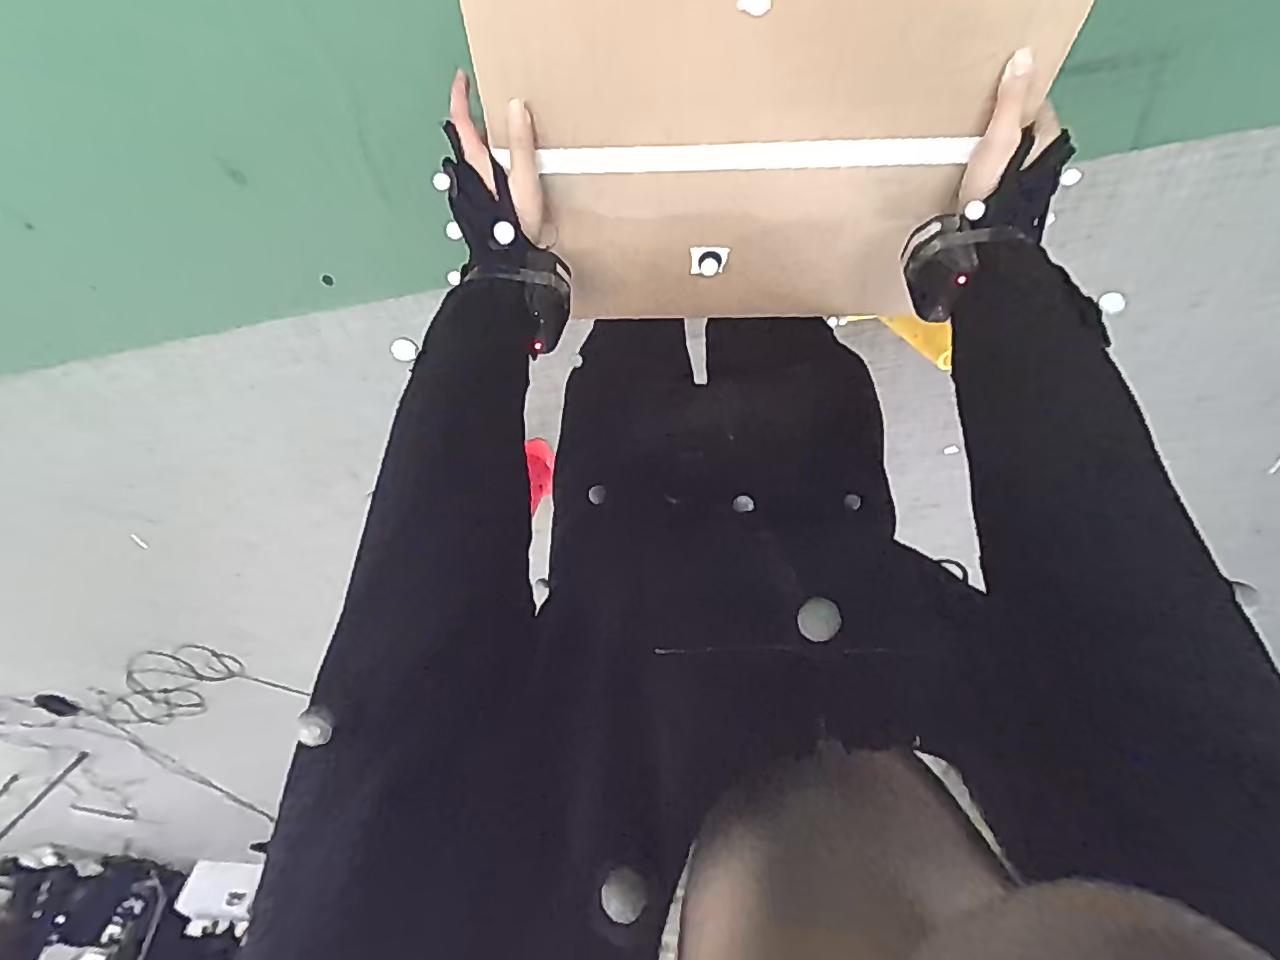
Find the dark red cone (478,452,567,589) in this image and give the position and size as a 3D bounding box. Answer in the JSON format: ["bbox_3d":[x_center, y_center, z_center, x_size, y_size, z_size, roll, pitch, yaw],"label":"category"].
[{"bbox_3d":[-0.332,0.114,1.381,0.202,0.394,0.201,-13,127,14],"label":"dark red cone"}]
